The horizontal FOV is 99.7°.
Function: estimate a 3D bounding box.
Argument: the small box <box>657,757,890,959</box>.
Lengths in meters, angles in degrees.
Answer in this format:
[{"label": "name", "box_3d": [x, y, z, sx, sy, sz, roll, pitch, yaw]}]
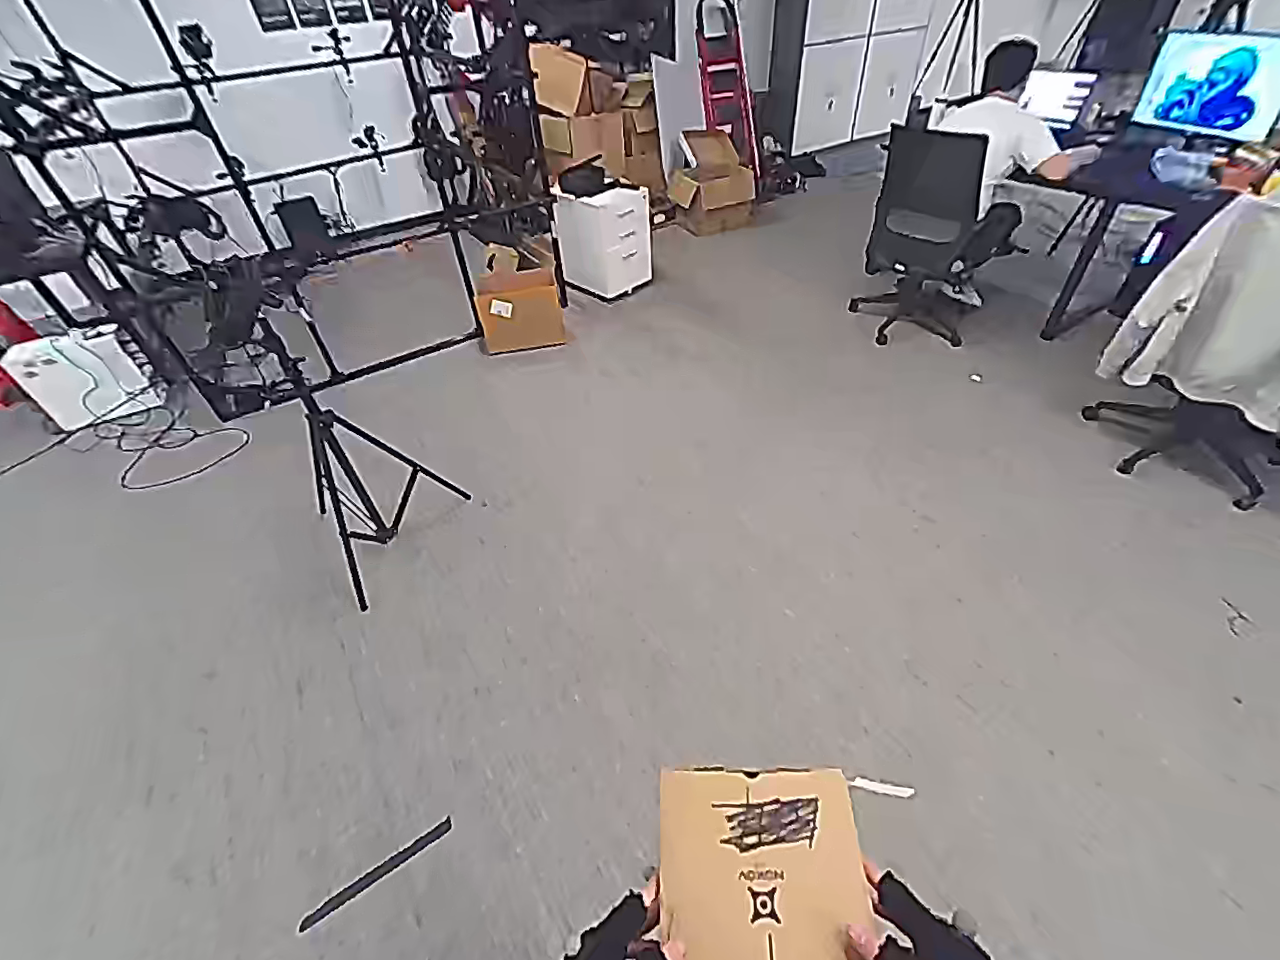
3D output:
[{"label": "small box", "box_3d": [0.099, 0.360, 0.477, 0.168, 0.176, 0.179, 0, 51, 1]}]
